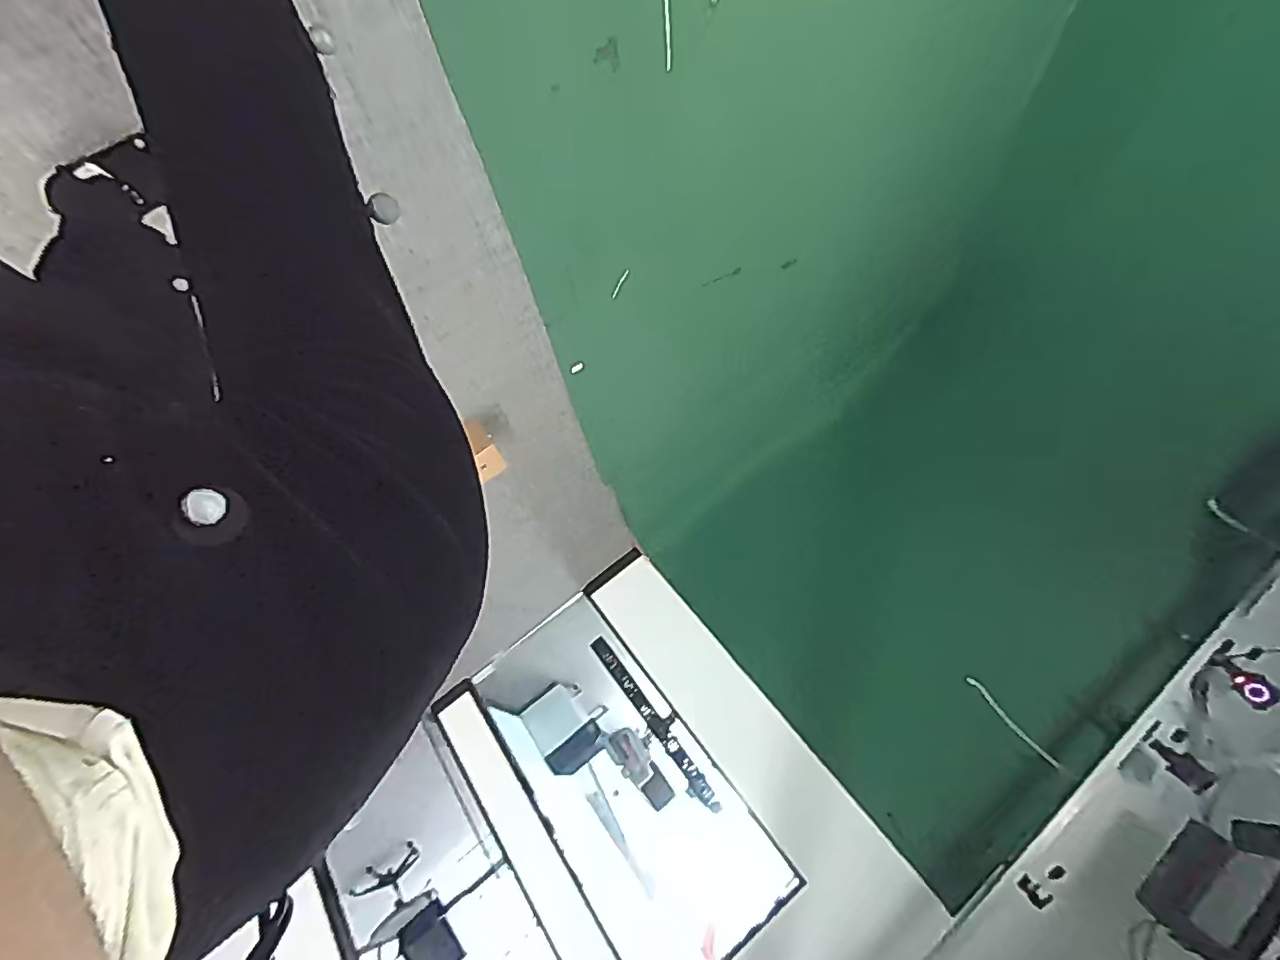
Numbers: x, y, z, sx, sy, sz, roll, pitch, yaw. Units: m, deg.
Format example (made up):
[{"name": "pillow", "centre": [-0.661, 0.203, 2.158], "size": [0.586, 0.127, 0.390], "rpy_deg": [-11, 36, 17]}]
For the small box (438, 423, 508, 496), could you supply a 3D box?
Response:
[{"name": "small box", "centre": [-0.634, -0.078, 2.036], "size": [0.179, 0.176, 0.168], "rpy_deg": [-38, 152, -13]}]
